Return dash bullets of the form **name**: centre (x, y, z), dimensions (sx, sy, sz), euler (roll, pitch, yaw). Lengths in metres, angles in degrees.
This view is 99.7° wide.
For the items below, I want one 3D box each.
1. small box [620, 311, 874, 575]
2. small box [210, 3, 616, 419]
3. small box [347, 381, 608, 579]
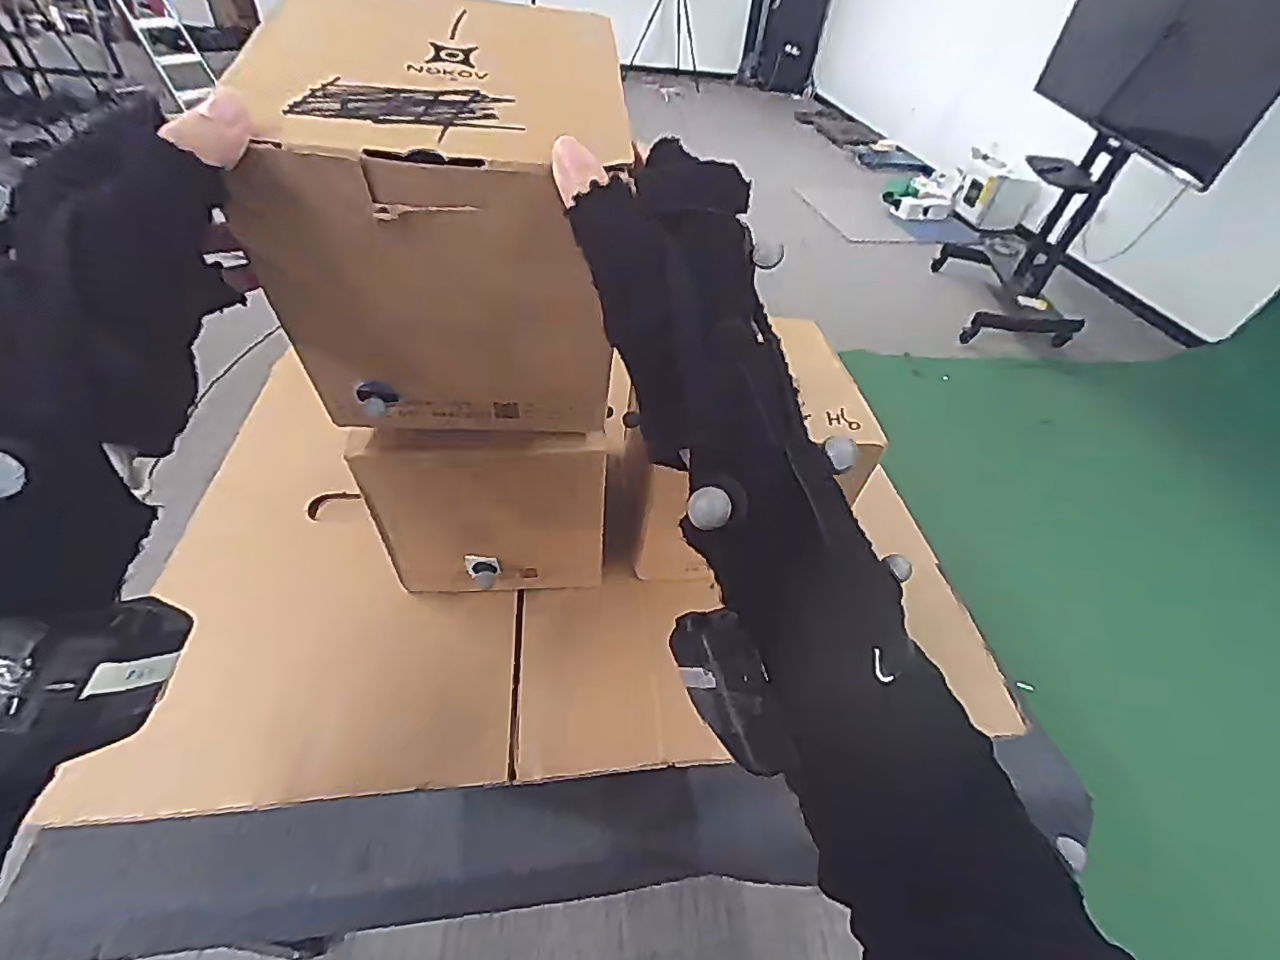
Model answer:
- **small box**: centre (0.074, -0.032, 0.499), dimensions (0.168, 0.176, 0.179), euler (1, 45, -9)
- **small box**: centre (-0.104, -0.152, 0.333), dimensions (0.168, 0.176, 0.179), euler (0, 55, -9)
- **small box**: centre (-0.118, -0.037, 0.459), dimensions (0.168, 0.176, 0.179), euler (-2, 48, -8)
